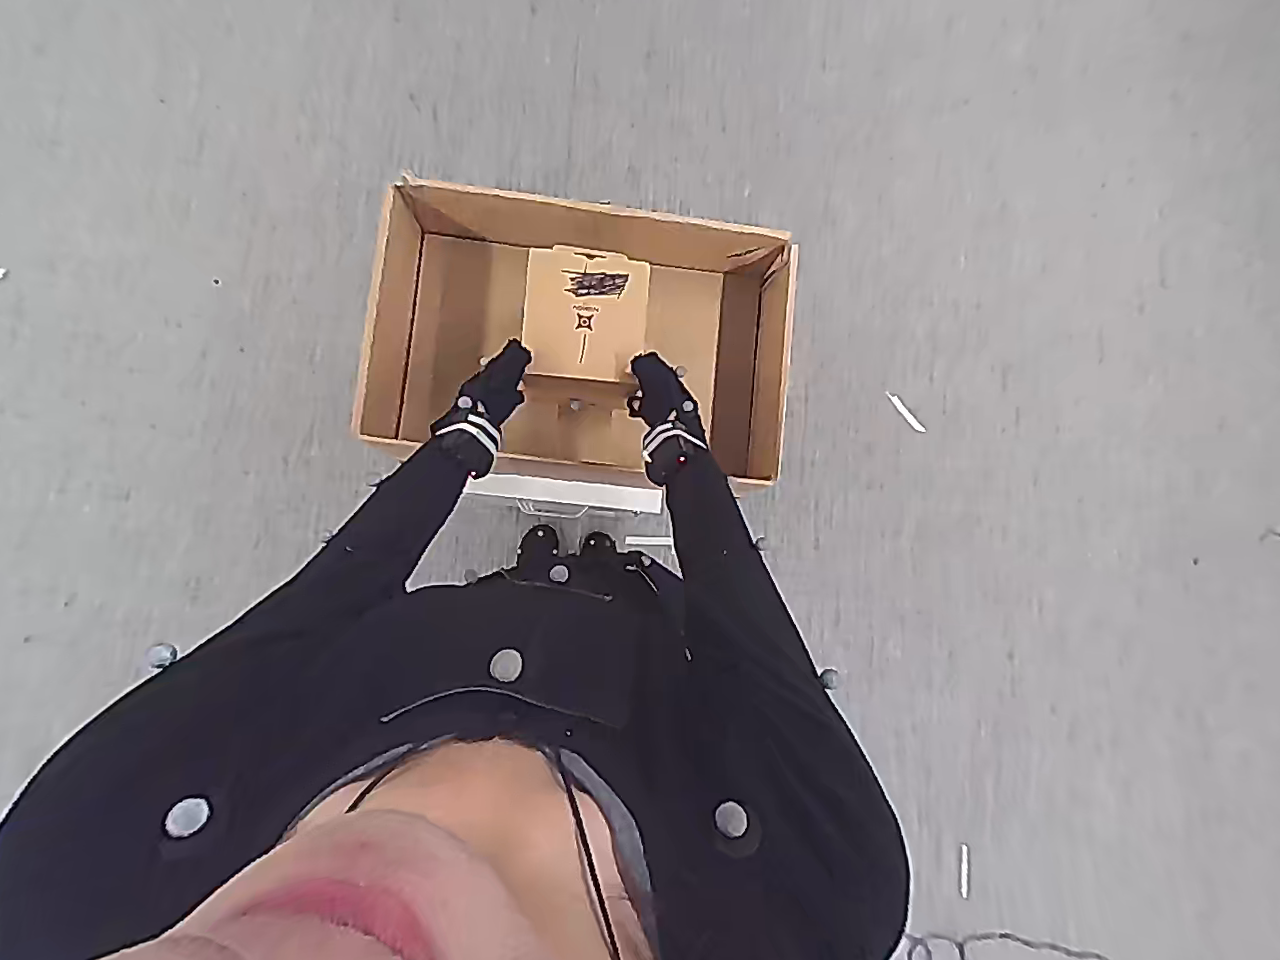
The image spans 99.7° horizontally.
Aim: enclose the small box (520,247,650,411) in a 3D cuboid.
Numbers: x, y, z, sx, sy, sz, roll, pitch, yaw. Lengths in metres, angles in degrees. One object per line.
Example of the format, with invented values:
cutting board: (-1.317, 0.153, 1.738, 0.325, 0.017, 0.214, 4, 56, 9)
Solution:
small box: (-0.083, -0.214, 0.807, 0.168, 0.176, 0.179, 4, 84, -7)
